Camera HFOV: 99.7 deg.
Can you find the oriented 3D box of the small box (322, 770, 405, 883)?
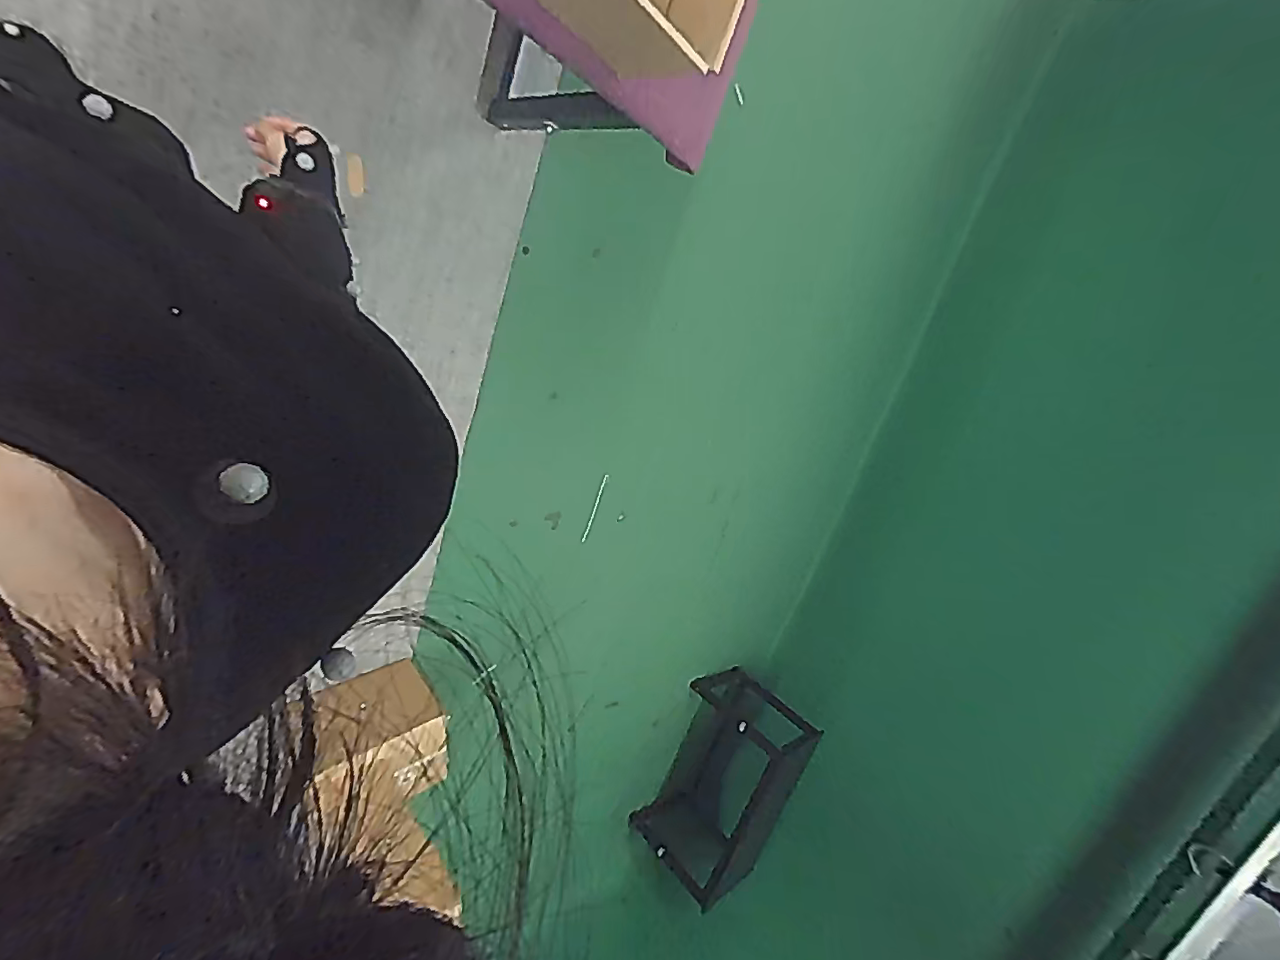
[{"bbox_3d":[-0.792,0.977,1.540,0.179,0.176,0.168,-9,119,-43],"label":"small box"}]

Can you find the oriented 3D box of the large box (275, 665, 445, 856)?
[{"bbox_3d":[-0.897,0.883,1.758,0.408,0.320,0.320,-15,124,-42],"label":"large box"}]

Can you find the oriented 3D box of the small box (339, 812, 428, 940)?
[{"bbox_3d":[-0.681,1.040,1.435,0.179,0.176,0.168,-15,123,-43],"label":"small box"}]

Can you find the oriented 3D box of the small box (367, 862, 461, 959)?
[{"bbox_3d":[-0.562,1.100,1.341,0.168,0.176,0.179,-12,122,-42],"label":"small box"}]
